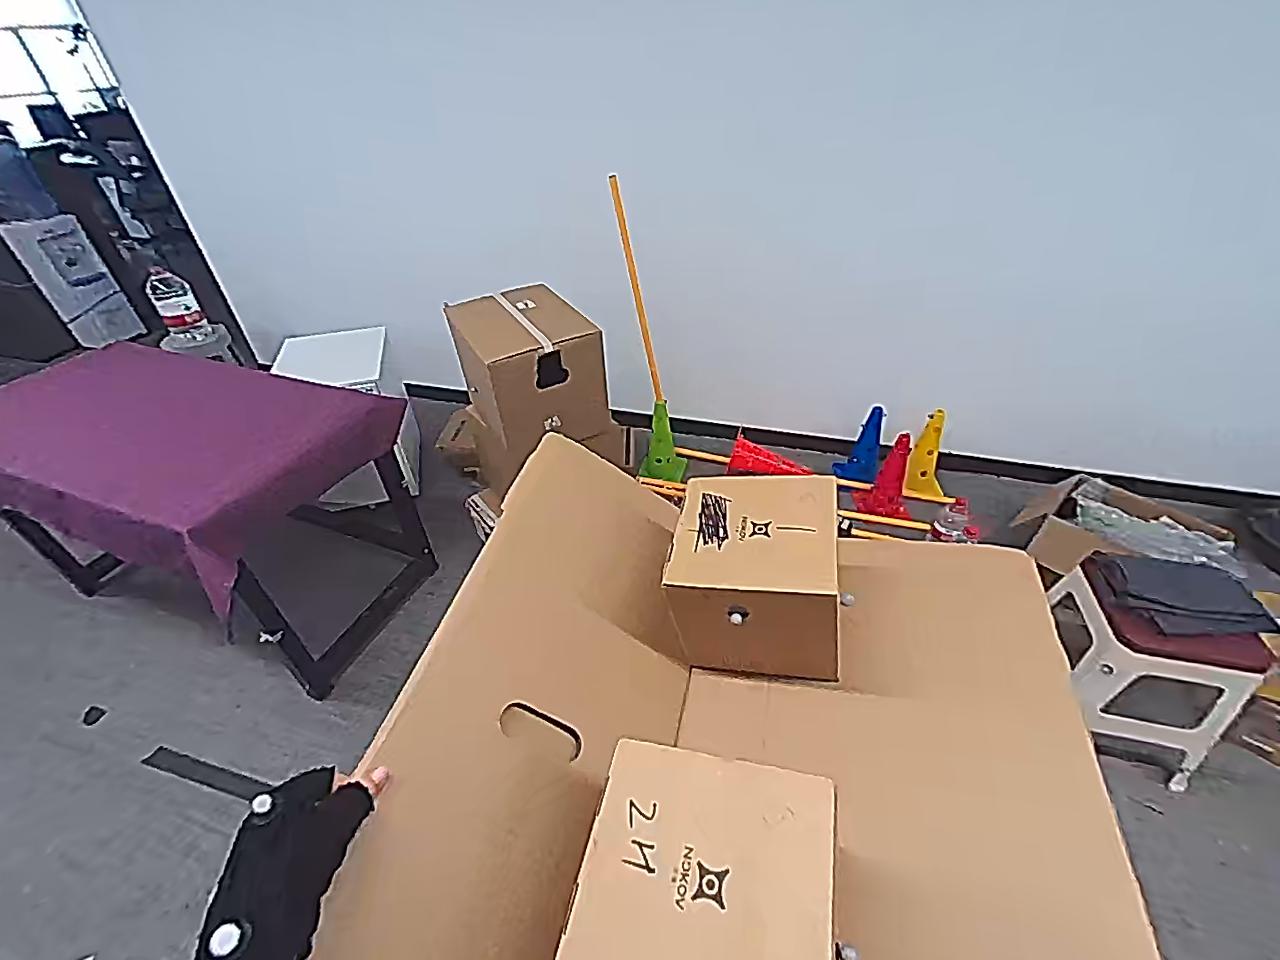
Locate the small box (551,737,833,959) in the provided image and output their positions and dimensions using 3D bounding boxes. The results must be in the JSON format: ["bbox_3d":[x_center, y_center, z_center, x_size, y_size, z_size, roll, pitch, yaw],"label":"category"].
[{"bbox_3d":[0.059,0.337,0.433,0.179,0.176,0.168,1,43,22],"label":"small box"}]

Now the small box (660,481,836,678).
[{"bbox_3d":[0.141,0.118,0.650,0.179,0.176,0.168,0,43,20],"label":"small box"}]
